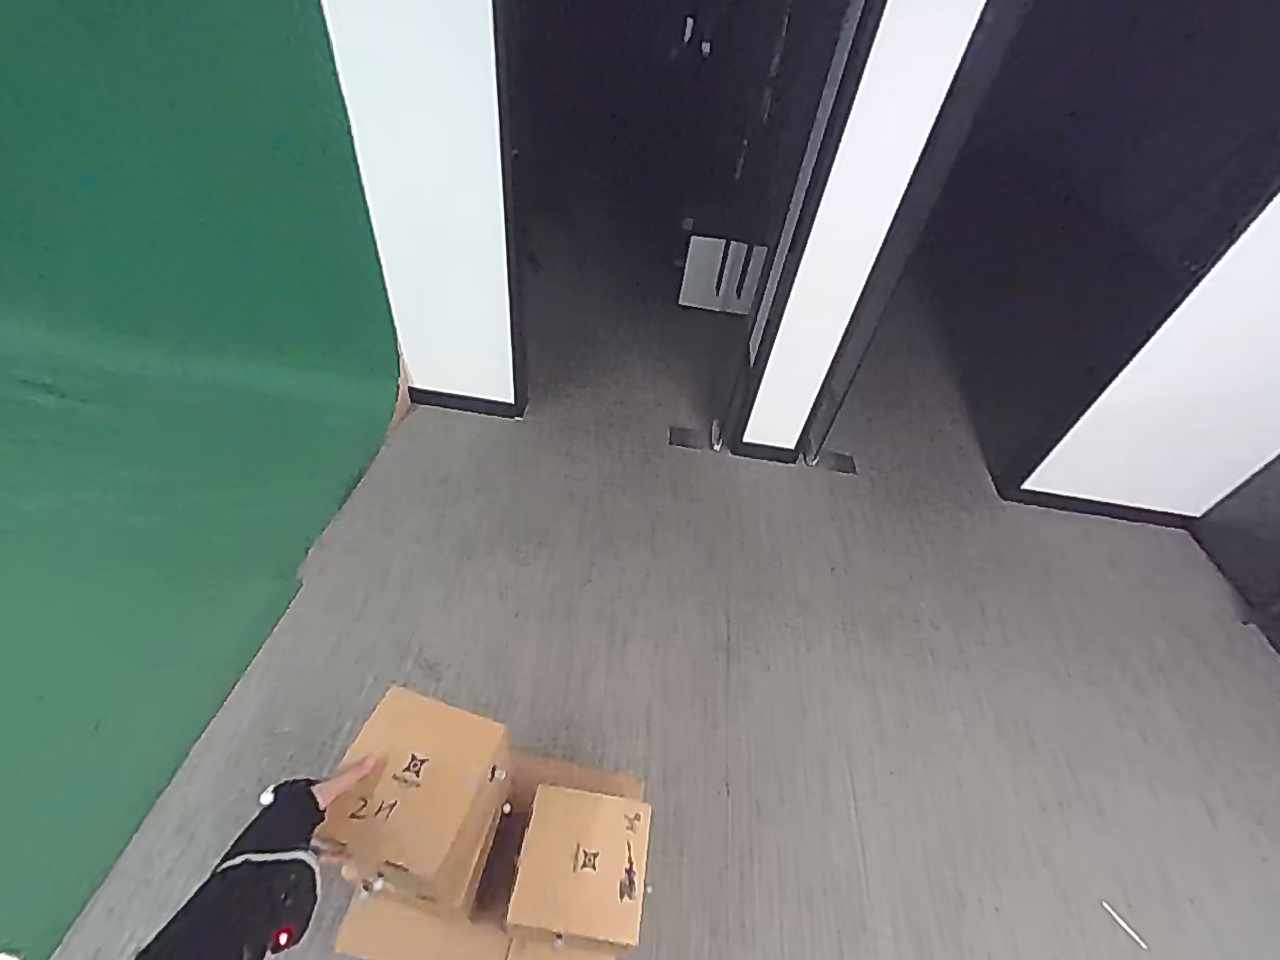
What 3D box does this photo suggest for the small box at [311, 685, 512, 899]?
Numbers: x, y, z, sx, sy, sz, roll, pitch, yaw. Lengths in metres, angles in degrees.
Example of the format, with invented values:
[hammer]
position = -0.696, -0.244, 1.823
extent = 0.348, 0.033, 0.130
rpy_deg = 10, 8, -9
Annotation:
[small box]
position = -0.279, 0.407, 0.707
extent = 0.168, 0.176, 0.179
rpy_deg = 16, 45, 7
